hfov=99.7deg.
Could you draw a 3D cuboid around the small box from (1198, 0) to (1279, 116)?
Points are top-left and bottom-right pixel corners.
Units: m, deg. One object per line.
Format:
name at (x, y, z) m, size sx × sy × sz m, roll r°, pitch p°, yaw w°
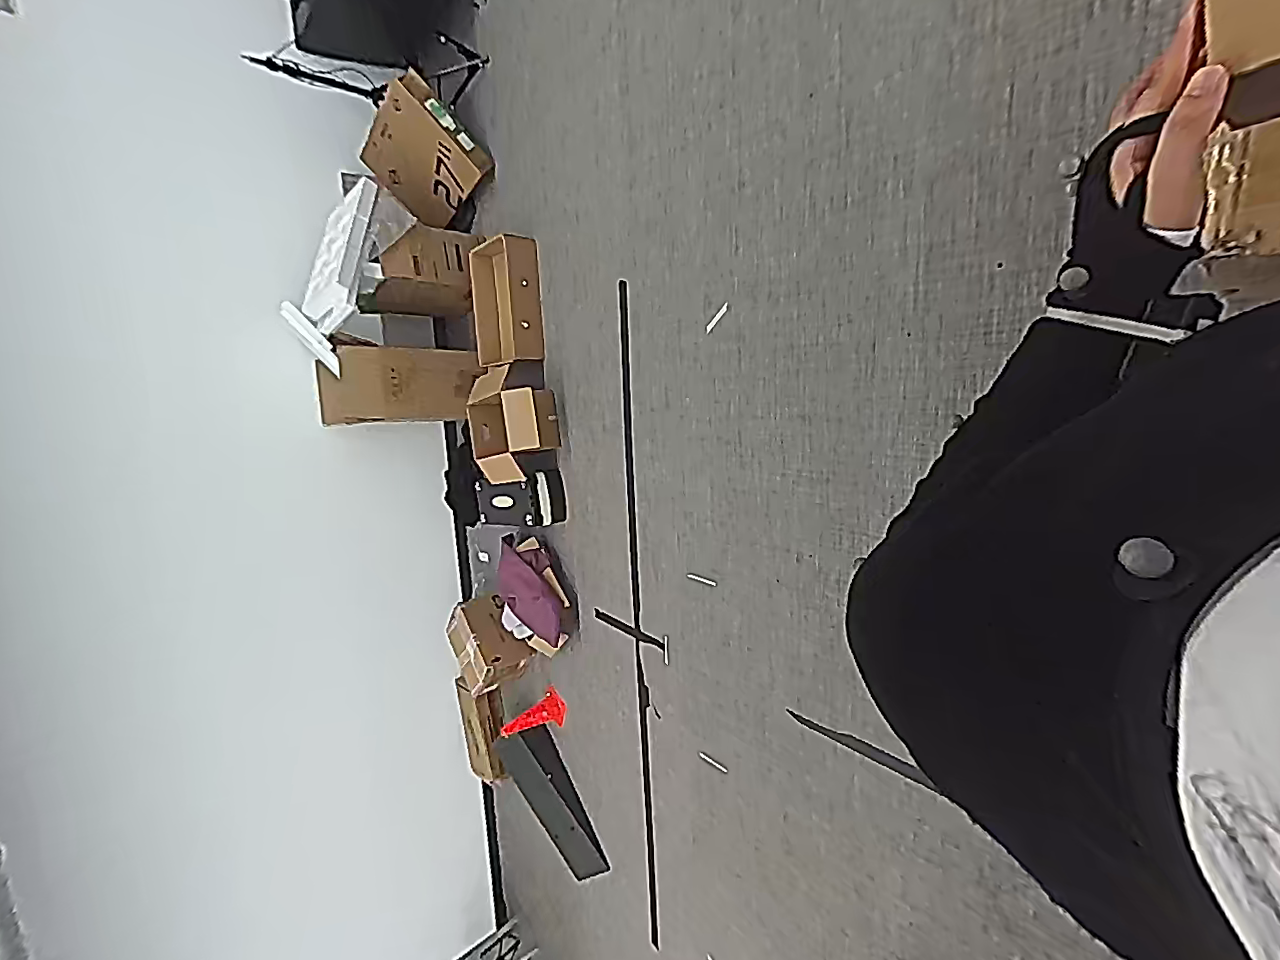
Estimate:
small box at (0.410, -0.329, 0.277) m, size 0.168 × 0.176 × 0.179 m, roll -1°, pitch 103°, yaw 52°
